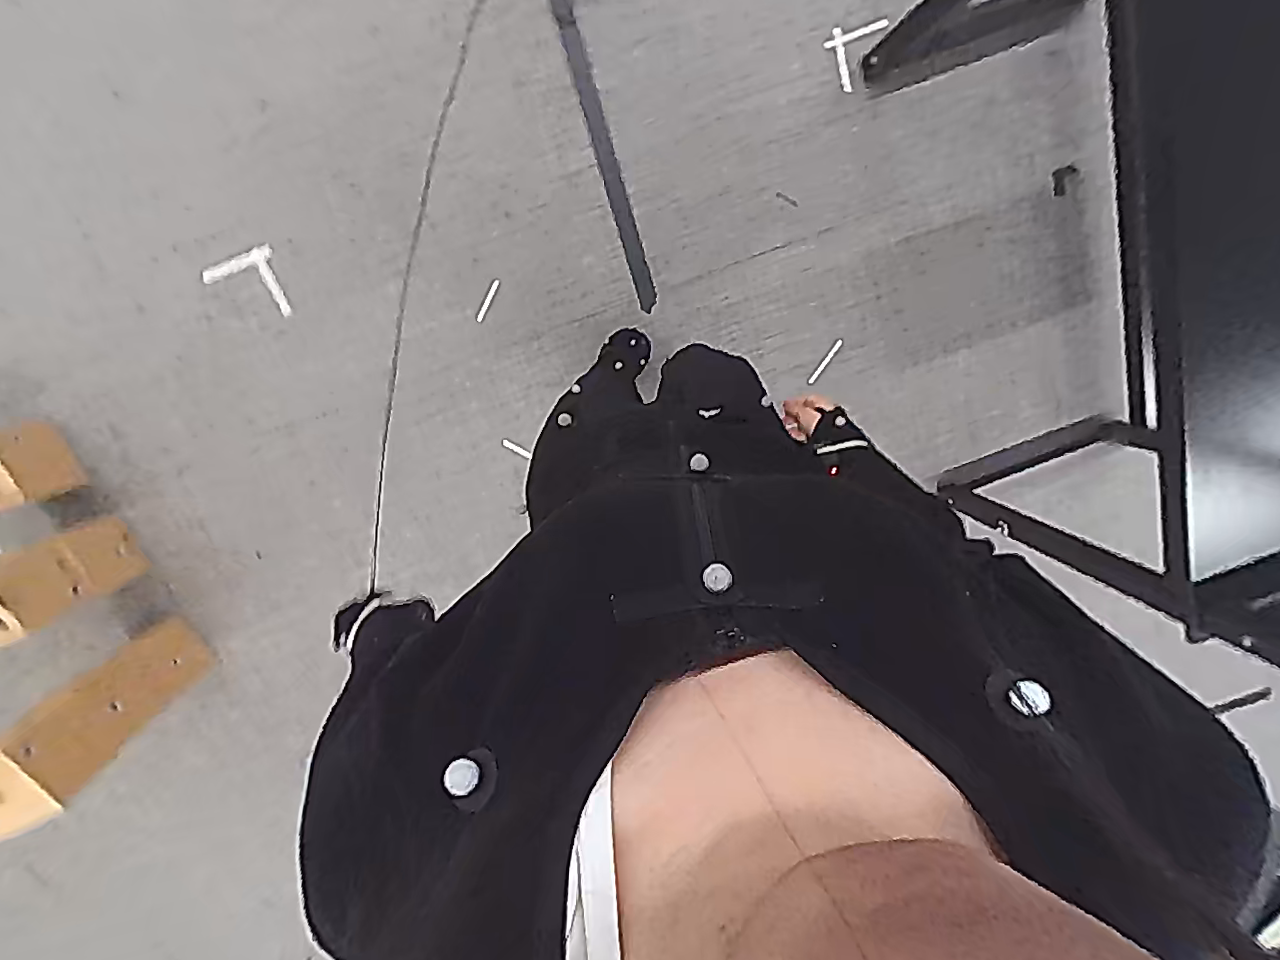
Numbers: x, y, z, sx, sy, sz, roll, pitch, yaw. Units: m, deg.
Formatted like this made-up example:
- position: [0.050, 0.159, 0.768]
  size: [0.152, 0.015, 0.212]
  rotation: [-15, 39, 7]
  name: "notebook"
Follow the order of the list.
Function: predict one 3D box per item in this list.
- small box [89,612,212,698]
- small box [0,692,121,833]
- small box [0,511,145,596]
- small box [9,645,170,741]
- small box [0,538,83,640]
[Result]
- position: [-1.322, 0.493, 1.459]
  size: [0.168, 0.176, 0.179]
  rotation: [-27, 108, 2]
  name: "small box"
- position: [-1.288, 0.593, 1.151]
  size: [0.168, 0.176, 0.179]
  rotation: [-26, 108, 1]
  name: "small box"
- position: [-1.424, 0.197, 1.358]
  size: [0.179, 0.176, 0.168]
  rotation: [-17, 108, -1]
  name: "small box"
- position: [-1.308, 0.538, 1.303]
  size: [0.168, 0.176, 0.179]
  rotation: [-26, 107, 1]
  name: "small box"
- position: [-1.416, 0.251, 1.202]
  size: [0.179, 0.176, 0.168]
  rotation: [-20, 108, 1]
  name: "small box"
